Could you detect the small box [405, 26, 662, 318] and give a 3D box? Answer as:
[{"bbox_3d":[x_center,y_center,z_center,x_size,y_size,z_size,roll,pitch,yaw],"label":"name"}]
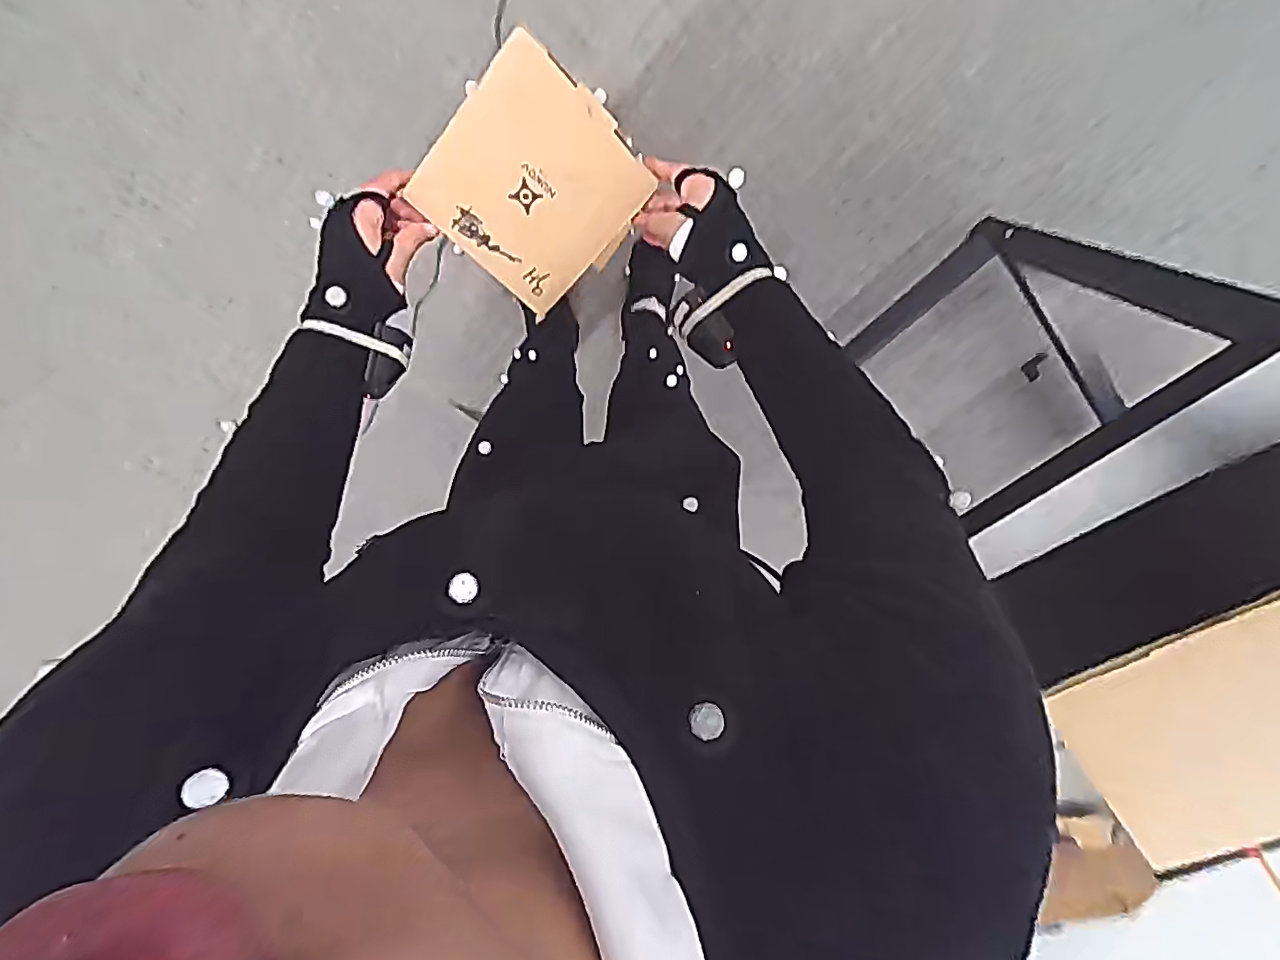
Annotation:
[{"bbox_3d":[-0.105,-0.307,0.554,0.179,0.176,0.168,-41,120,19],"label":"small box"}]
